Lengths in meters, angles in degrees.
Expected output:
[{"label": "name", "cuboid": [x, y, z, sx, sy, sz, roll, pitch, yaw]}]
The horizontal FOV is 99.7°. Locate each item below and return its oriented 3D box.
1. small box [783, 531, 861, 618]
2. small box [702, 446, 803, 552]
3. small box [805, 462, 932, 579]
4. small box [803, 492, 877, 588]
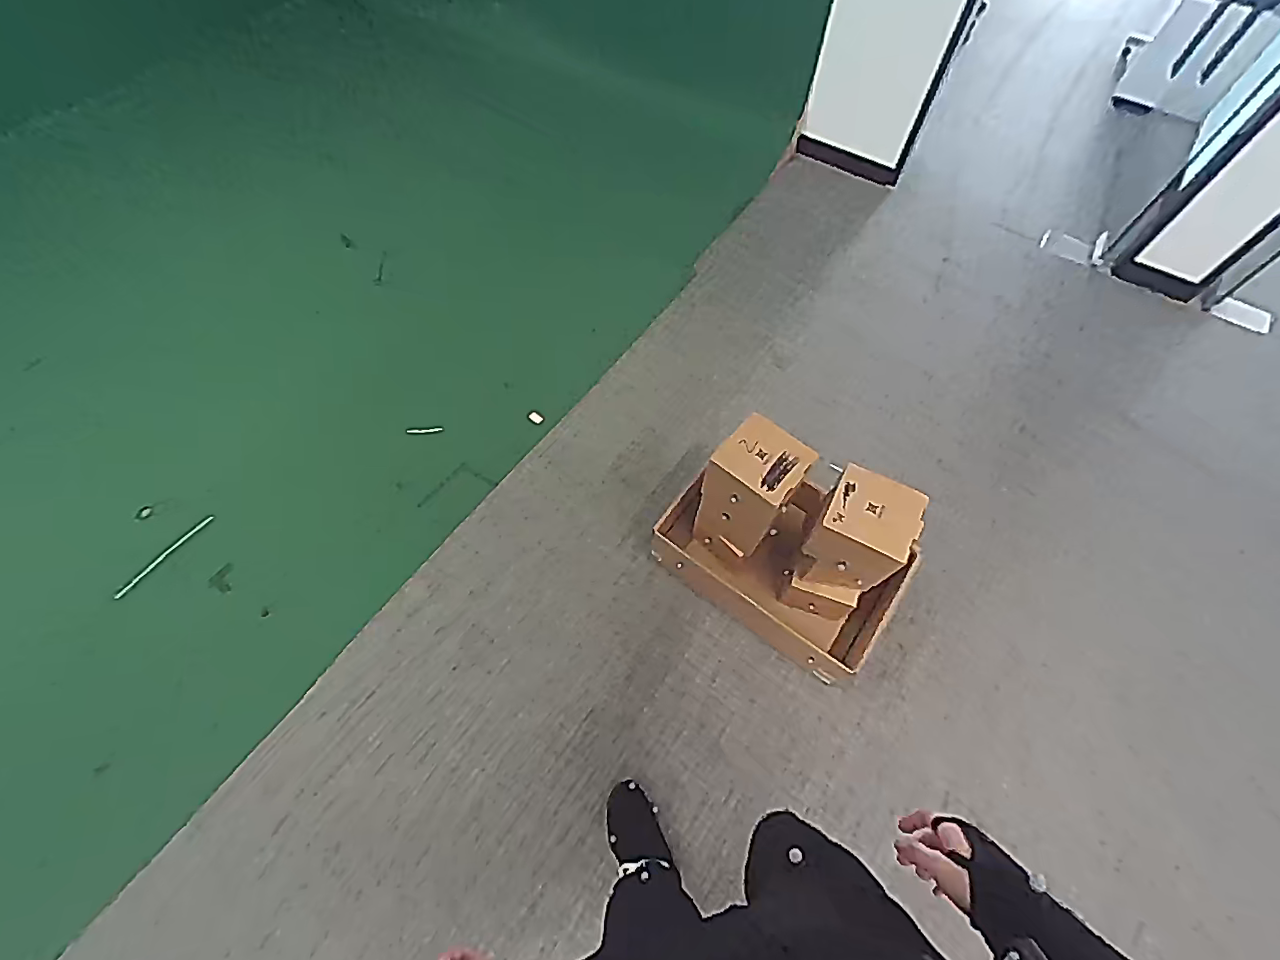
[{"label": "small box", "cuboid": [0.493, 0.253, 1.451, 0.168, 0.176, 0.179, 18, 65, 10]}, {"label": "small box", "cuboid": [0.275, 0.054, 1.369, 0.179, 0.176, 0.168, 37, 68, 16]}, {"label": "small box", "cuboid": [0.484, 0.097, 1.164, 0.179, 0.176, 0.168, 27, 67, 13]}, {"label": "small box", "cuboid": [0.503, 0.152, 1.319, 0.168, 0.176, 0.179, 9, 63, 5]}]
